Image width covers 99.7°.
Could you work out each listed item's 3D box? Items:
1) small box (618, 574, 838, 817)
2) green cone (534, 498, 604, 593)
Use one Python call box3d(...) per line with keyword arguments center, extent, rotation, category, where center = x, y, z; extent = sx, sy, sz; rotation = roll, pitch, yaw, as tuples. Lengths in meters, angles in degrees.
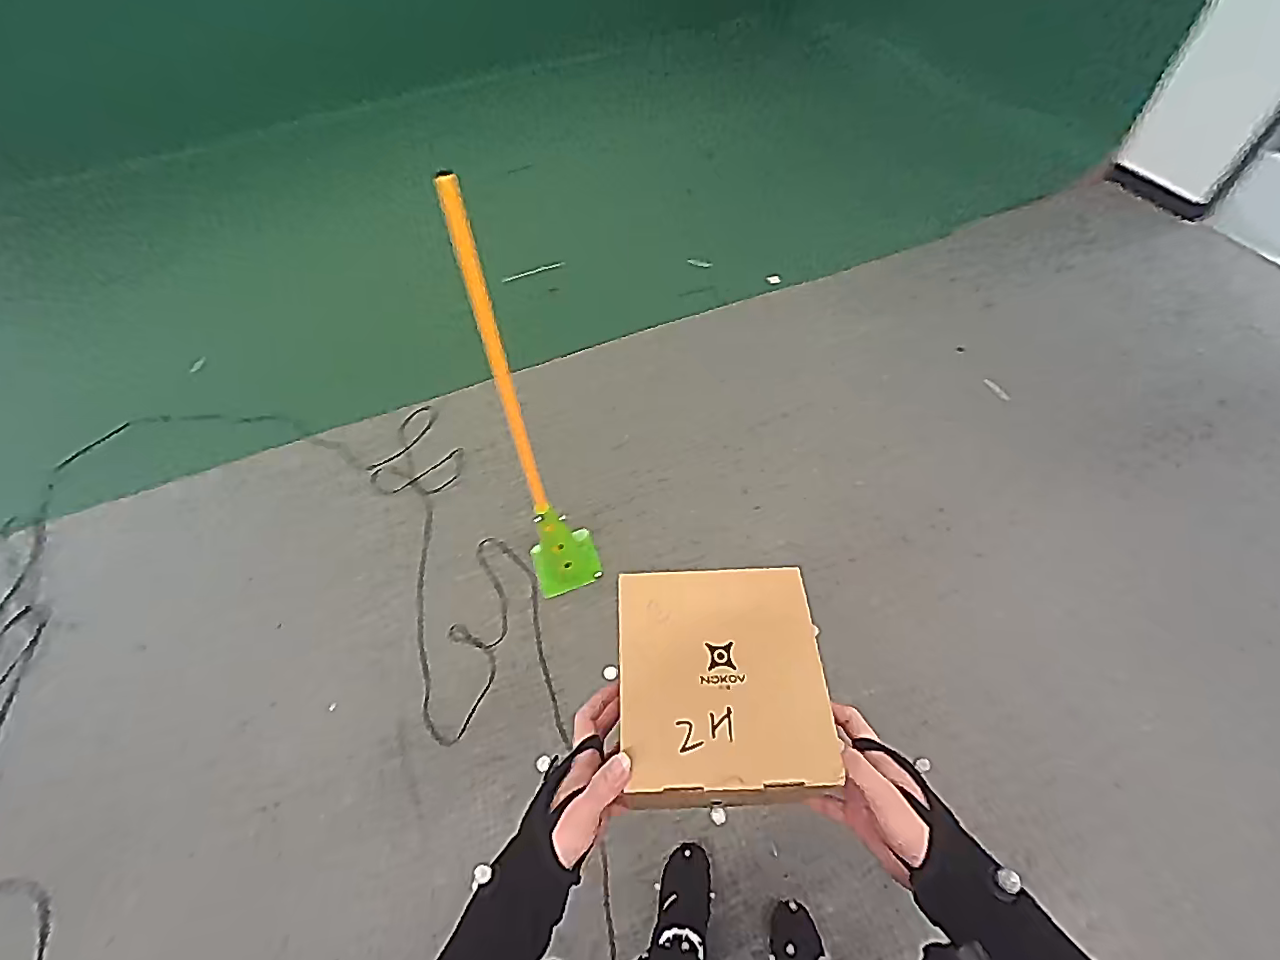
box3d(center=(0.064, 0.207, 0.511), extent=(0.168, 0.176, 0.179), rotation=(-3, 54, 0), category="small box")
box3d(center=(-0.252, 0.160, 1.636), extent=(0.202, 0.368, 0.200), rotation=(-19, 56, -6), category="green cone")
